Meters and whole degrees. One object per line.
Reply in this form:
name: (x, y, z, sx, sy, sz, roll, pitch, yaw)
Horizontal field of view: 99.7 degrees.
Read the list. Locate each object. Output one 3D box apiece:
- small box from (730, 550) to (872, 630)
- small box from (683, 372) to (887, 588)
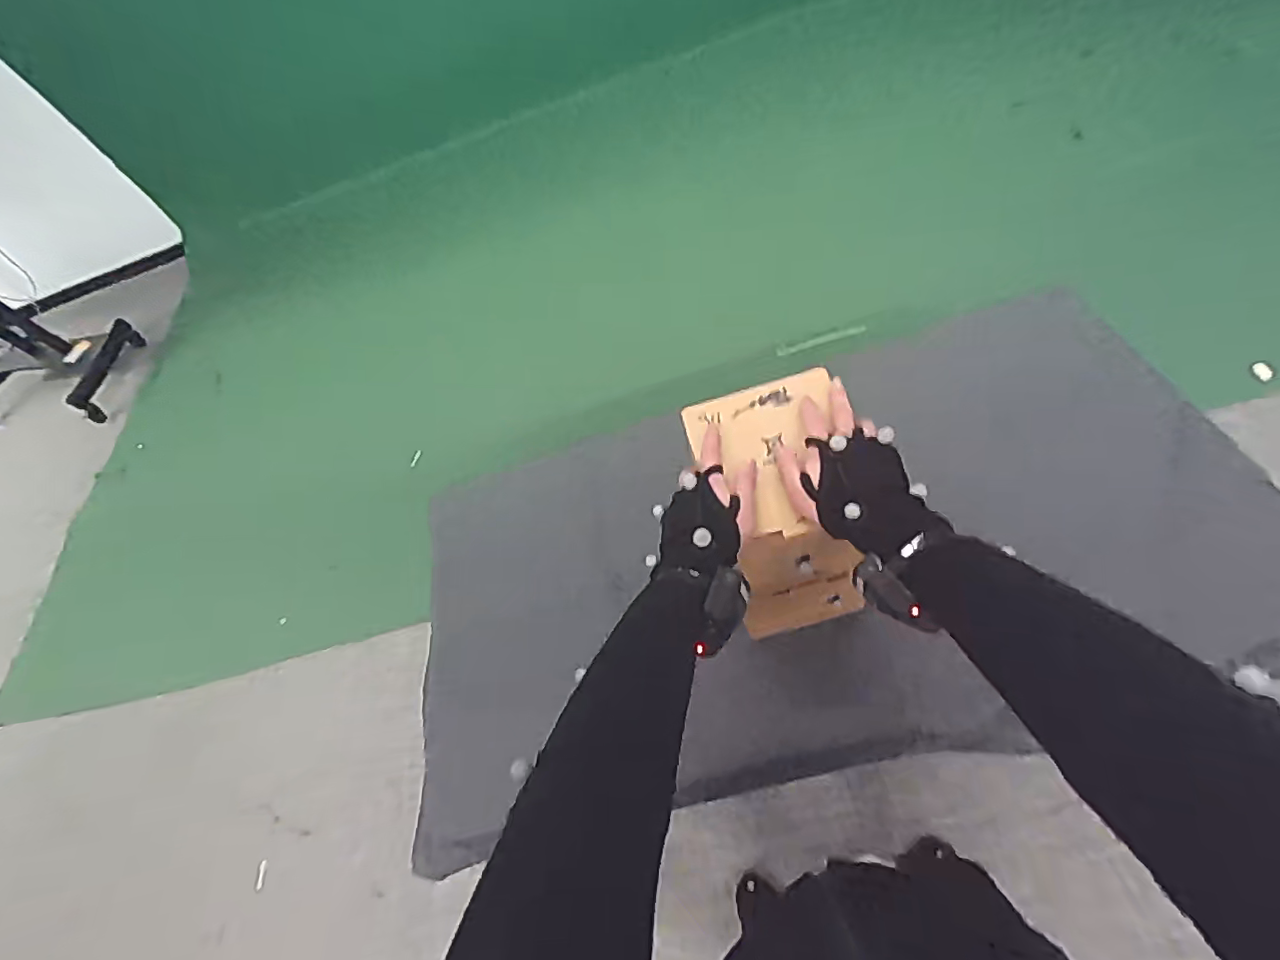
small box: (0.202, 0.096, 0.756, 0.168, 0.176, 0.179, -17, 56, 5)
small box: (0.159, 0.012, 0.623, 0.168, 0.176, 0.179, -16, 59, 5)
